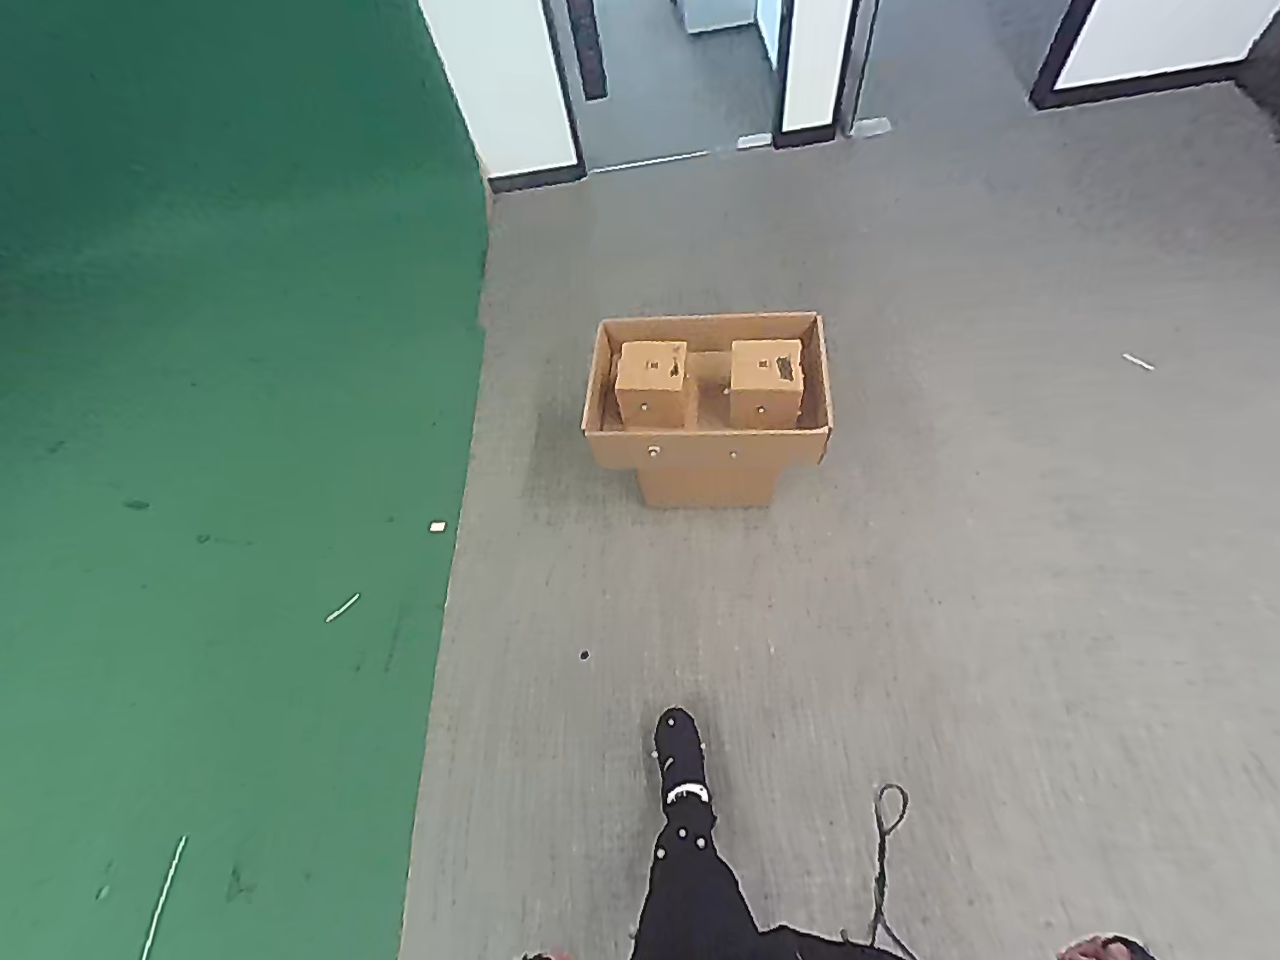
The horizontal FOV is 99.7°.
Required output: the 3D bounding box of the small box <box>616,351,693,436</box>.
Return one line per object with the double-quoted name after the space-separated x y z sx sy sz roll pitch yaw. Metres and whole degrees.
0.046 -0.233 1.480 0.179 0.176 0.168 2 60 11 "small box"
